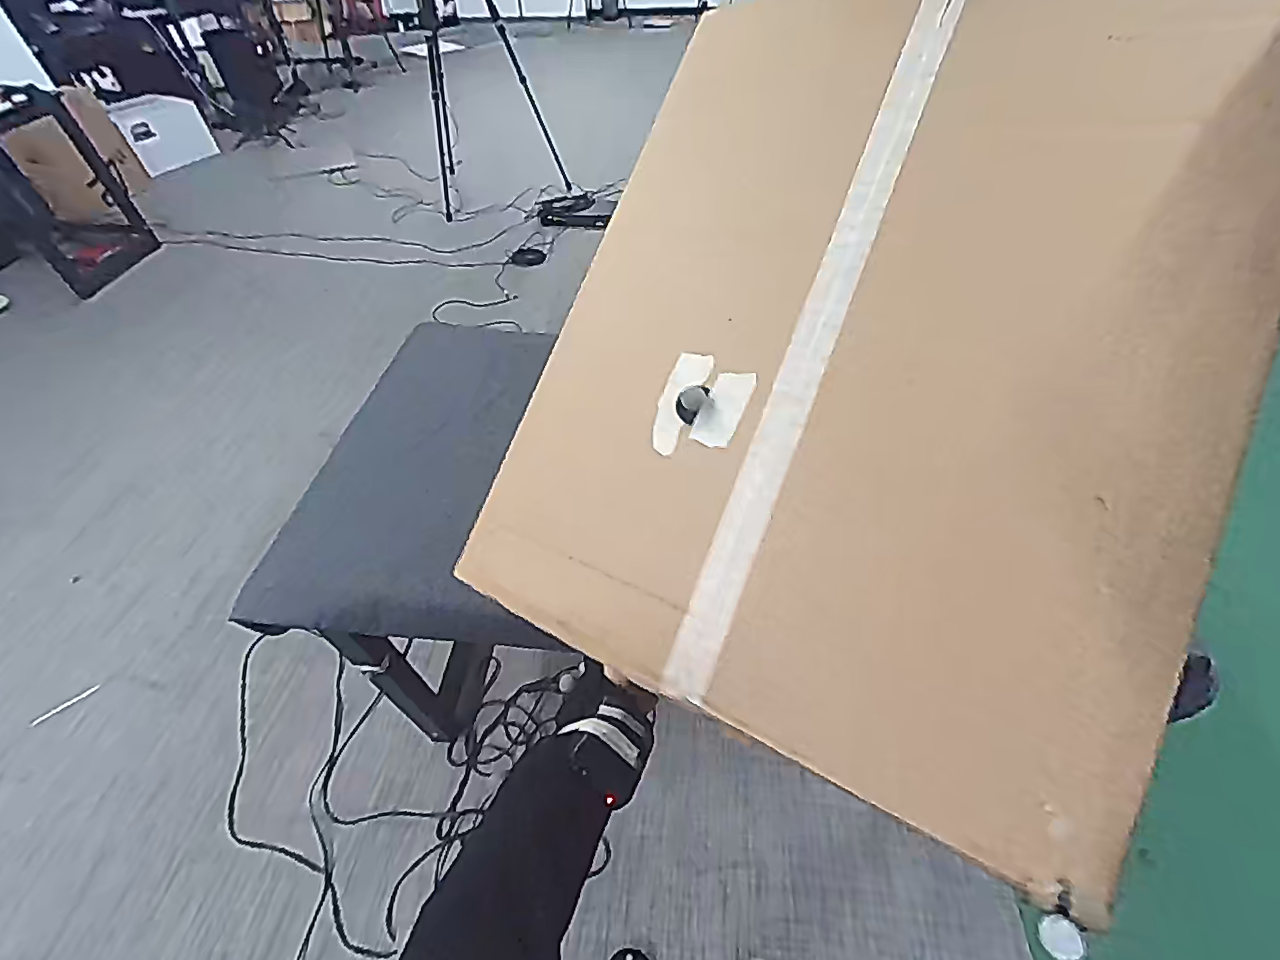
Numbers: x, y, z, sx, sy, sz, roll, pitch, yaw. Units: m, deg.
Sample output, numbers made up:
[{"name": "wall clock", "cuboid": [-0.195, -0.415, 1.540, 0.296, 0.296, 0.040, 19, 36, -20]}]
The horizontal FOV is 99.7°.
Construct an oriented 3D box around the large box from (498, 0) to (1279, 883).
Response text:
[{"name": "large box", "cuboid": [0.165, -0.042, 0.416, 0.320, 0.320, 0.408, 18, 84, 28]}]
